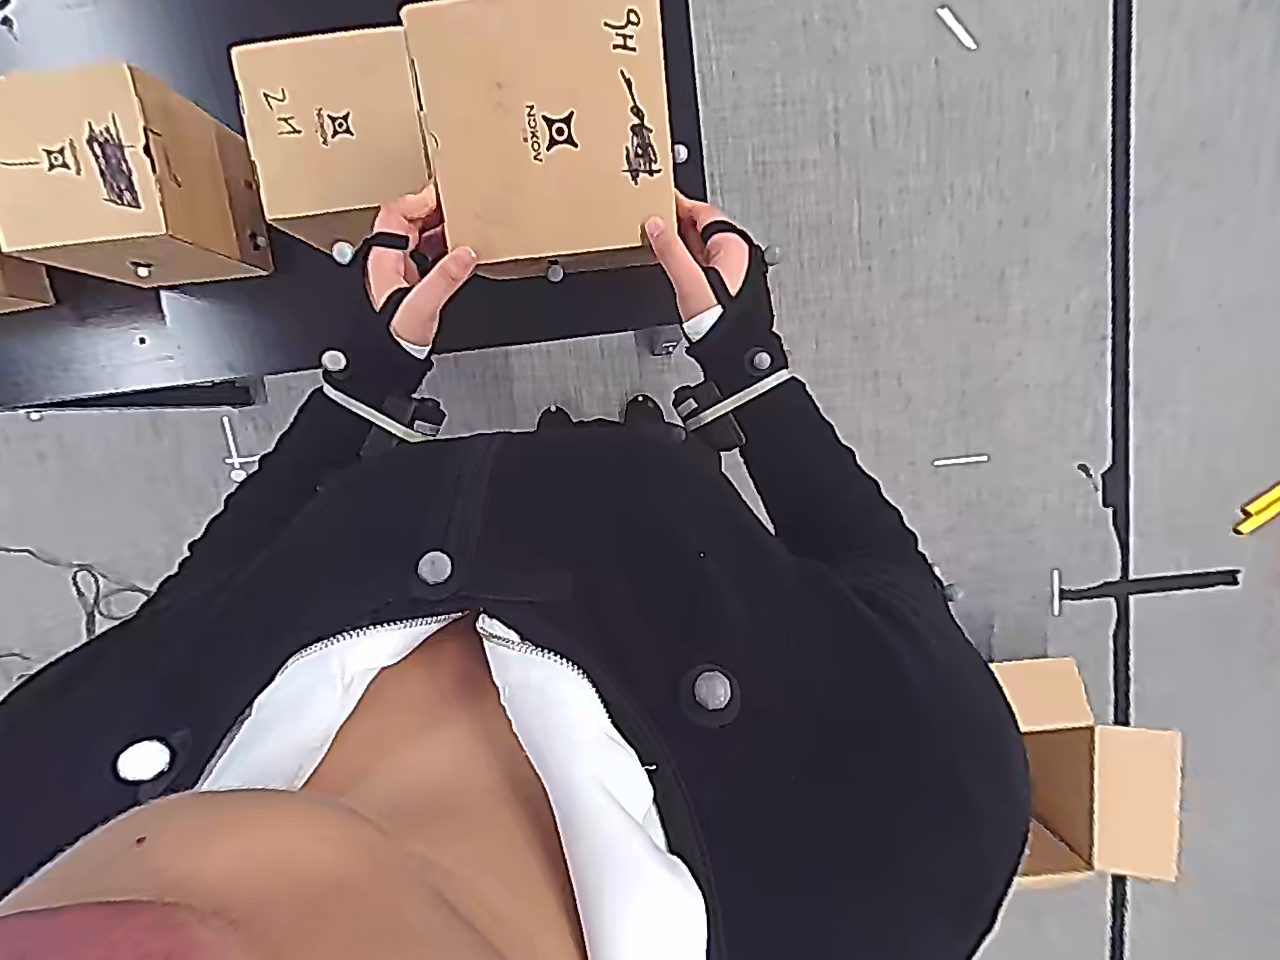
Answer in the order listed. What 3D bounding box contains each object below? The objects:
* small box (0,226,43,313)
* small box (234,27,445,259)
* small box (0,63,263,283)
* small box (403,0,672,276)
[{"bbox_3d":[-0.868,-0.292,0.629,0.179,0.176,0.168,-9,97,1],"label":"small box"},{"bbox_3d":[-0.308,-0.369,0.623,0.179,0.176,0.168,-7,97,0],"label":"small box"},{"bbox_3d":[-0.576,-0.336,0.625,0.179,0.176,0.168,-6,98,1],"label":"small box"},{"bbox_3d":[-0.070,-0.274,0.463,0.179,0.176,0.168,-6,107,0],"label":"small box"}]
